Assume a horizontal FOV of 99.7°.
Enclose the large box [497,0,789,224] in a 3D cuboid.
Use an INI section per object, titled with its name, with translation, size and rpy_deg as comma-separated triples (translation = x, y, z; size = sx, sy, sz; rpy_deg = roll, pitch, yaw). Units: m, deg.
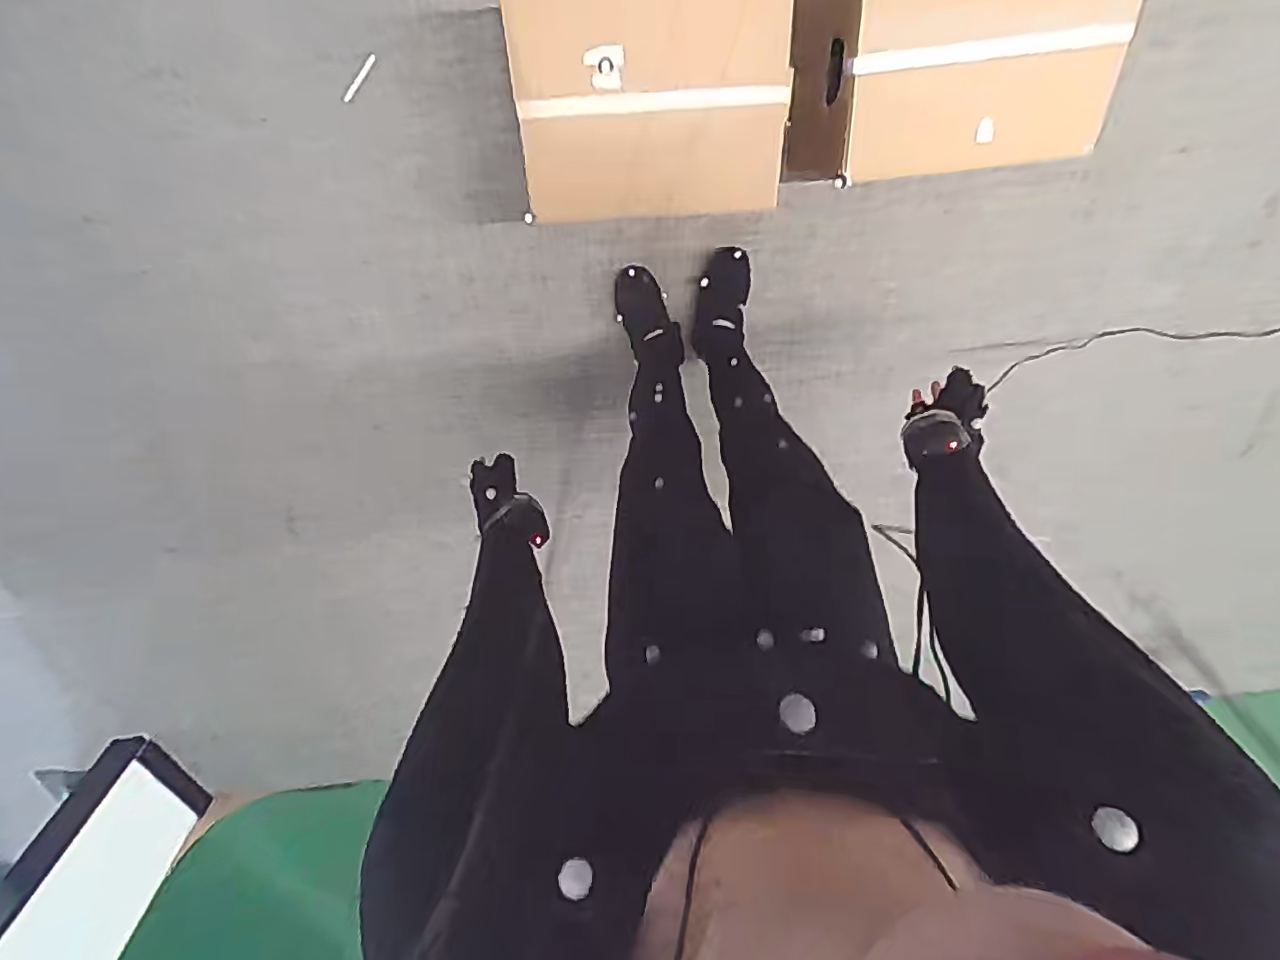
[large box]
translation = 0.009, -0.640, 0.919
size = 0.408, 0.320, 0.320
rpy_deg = -3, 123, 0
